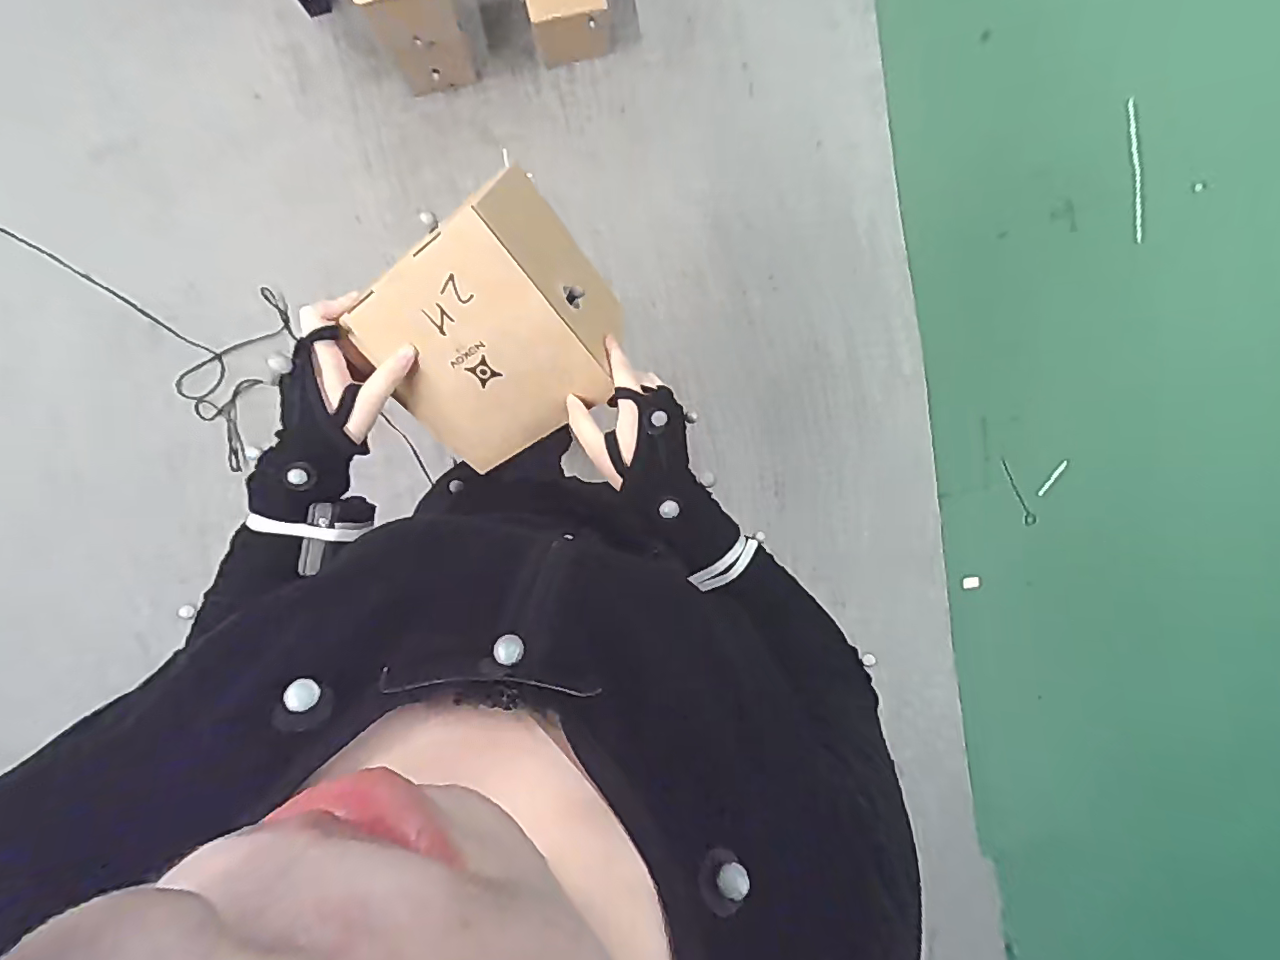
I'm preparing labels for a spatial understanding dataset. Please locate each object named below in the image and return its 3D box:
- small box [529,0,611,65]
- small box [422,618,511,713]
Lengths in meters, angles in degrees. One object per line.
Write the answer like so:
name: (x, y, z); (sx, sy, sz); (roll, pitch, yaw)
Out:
small box: (-0.169, -1.113, 1.259); (0.179, 0.176, 0.168); (-13, 99, -1)
small box: (-0.457, 0.494, 1.463); (0.179, 0.176, 0.168); (-14, 98, 0)
